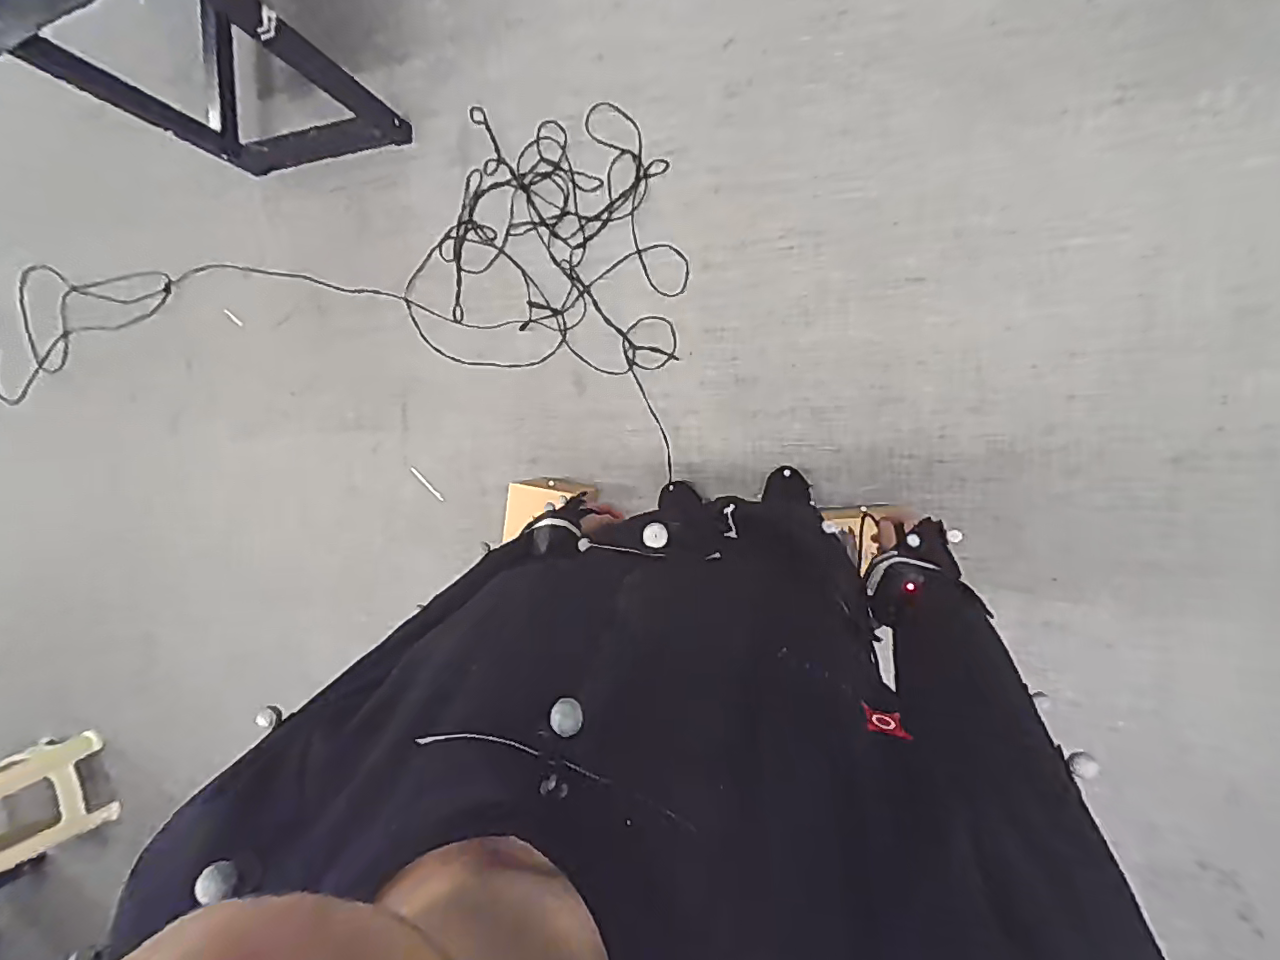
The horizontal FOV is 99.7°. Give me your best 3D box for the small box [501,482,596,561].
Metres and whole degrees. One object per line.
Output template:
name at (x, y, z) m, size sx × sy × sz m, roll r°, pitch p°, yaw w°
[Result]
small box at (-0.230, 0.097, 1.378) m, size 0.179 × 0.176 × 0.168 m, roll 9°, pitch 95°, yaw 13°
